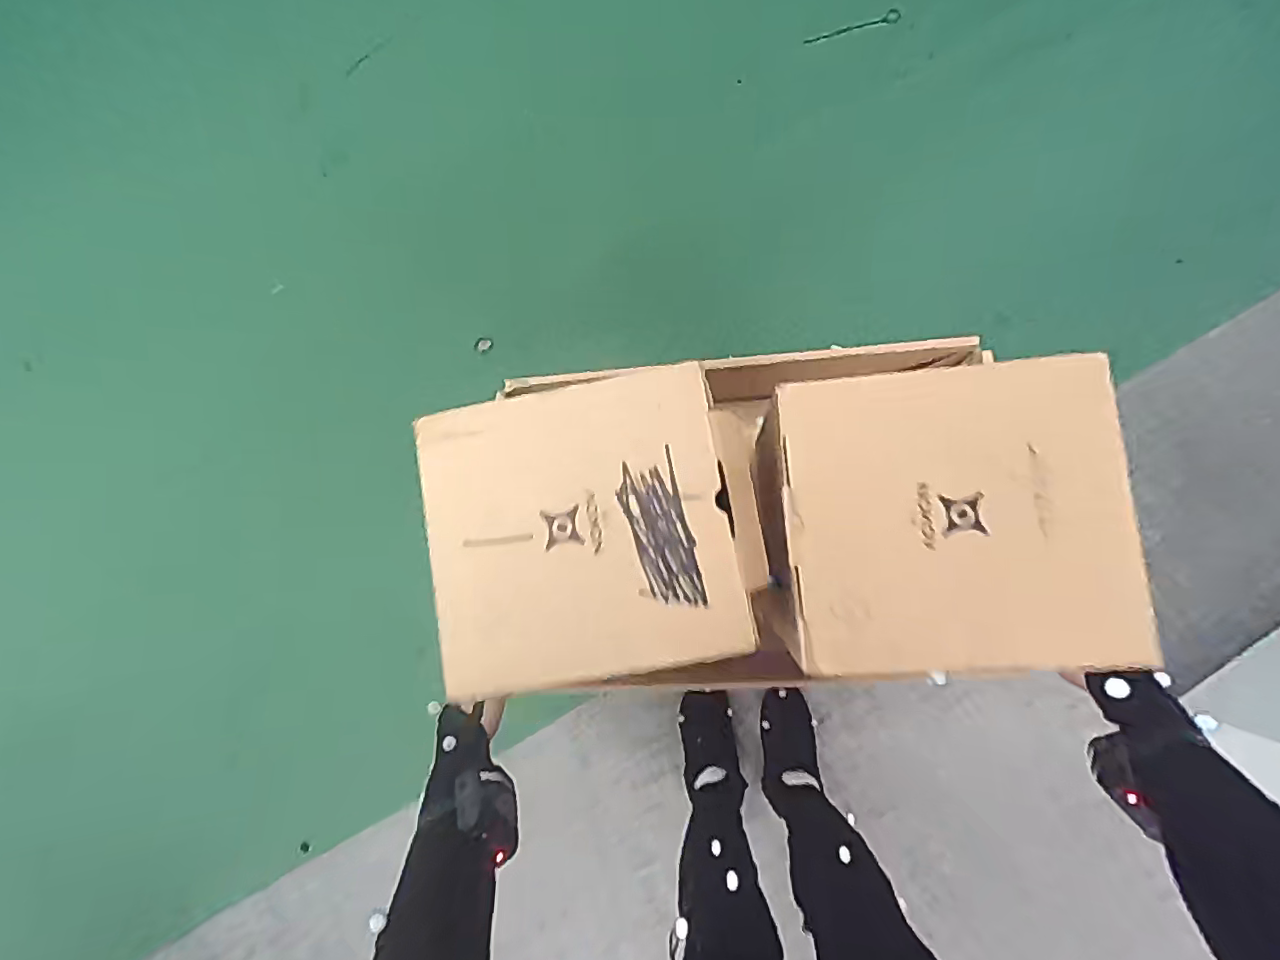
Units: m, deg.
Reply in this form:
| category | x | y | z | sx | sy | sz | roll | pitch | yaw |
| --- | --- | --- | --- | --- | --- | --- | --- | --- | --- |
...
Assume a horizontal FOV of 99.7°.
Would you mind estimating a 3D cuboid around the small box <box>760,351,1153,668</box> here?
| category | x | y | z | sx | sy | sz | roll | pitch | yaw |
| --- | --- | --- | --- | --- | --- | --- | --- | --- | --- |
| small box | 0.178 | 0.027 | 0.370 | 0.179 | 0.176 | 0.168 | -5 | 82 | 8 |

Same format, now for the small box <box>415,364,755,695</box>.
| category | x | y | z | sx | sy | sz | roll | pitch | yaw |
| --- | --- | --- | --- | --- | --- | --- | --- | --- | --- |
| small box | -0.030 | 0.036 | 0.386 | 0.179 | 0.176 | 0.168 | -11 | 81 | 4 |
